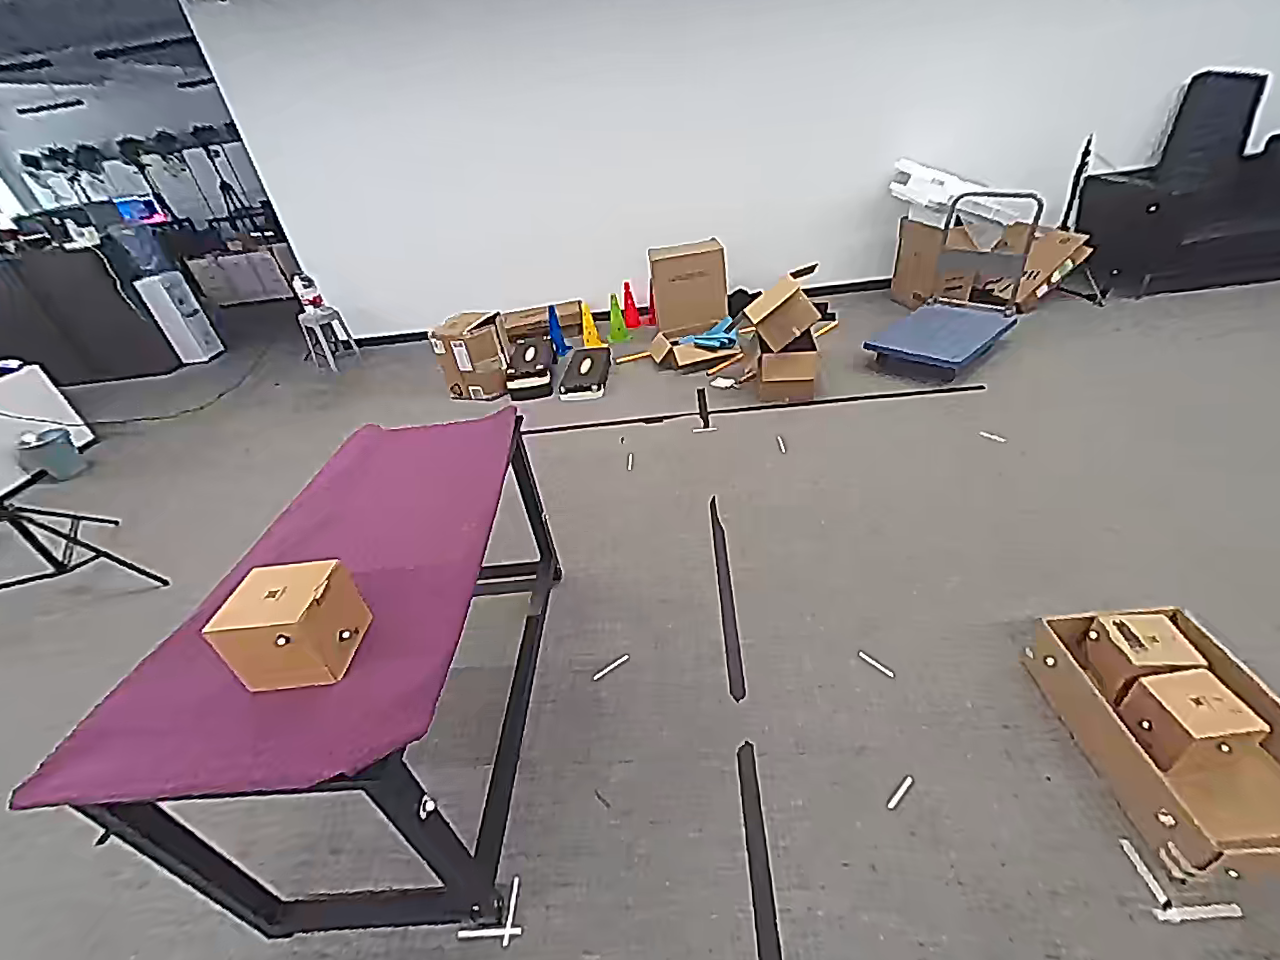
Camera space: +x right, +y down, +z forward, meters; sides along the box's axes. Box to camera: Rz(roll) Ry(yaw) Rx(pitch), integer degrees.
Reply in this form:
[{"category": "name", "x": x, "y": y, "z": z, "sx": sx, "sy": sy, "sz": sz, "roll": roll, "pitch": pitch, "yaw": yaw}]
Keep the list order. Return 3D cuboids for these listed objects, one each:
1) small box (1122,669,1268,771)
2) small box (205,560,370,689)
[{"category": "small box", "x": 1.365, "y": 0.603, "z": 1.352, "sx": 0.179, "sy": 0.176, "sz": 0.168, "roll": -8, "pitch": 35, "yaw": 1}, {"category": "small box", "x": -0.657, "y": 0.278, "z": 1.034, "sx": 0.179, "sy": 0.176, "sz": 0.168, "roll": -6, "pitch": 33, "yaw": 2}]
